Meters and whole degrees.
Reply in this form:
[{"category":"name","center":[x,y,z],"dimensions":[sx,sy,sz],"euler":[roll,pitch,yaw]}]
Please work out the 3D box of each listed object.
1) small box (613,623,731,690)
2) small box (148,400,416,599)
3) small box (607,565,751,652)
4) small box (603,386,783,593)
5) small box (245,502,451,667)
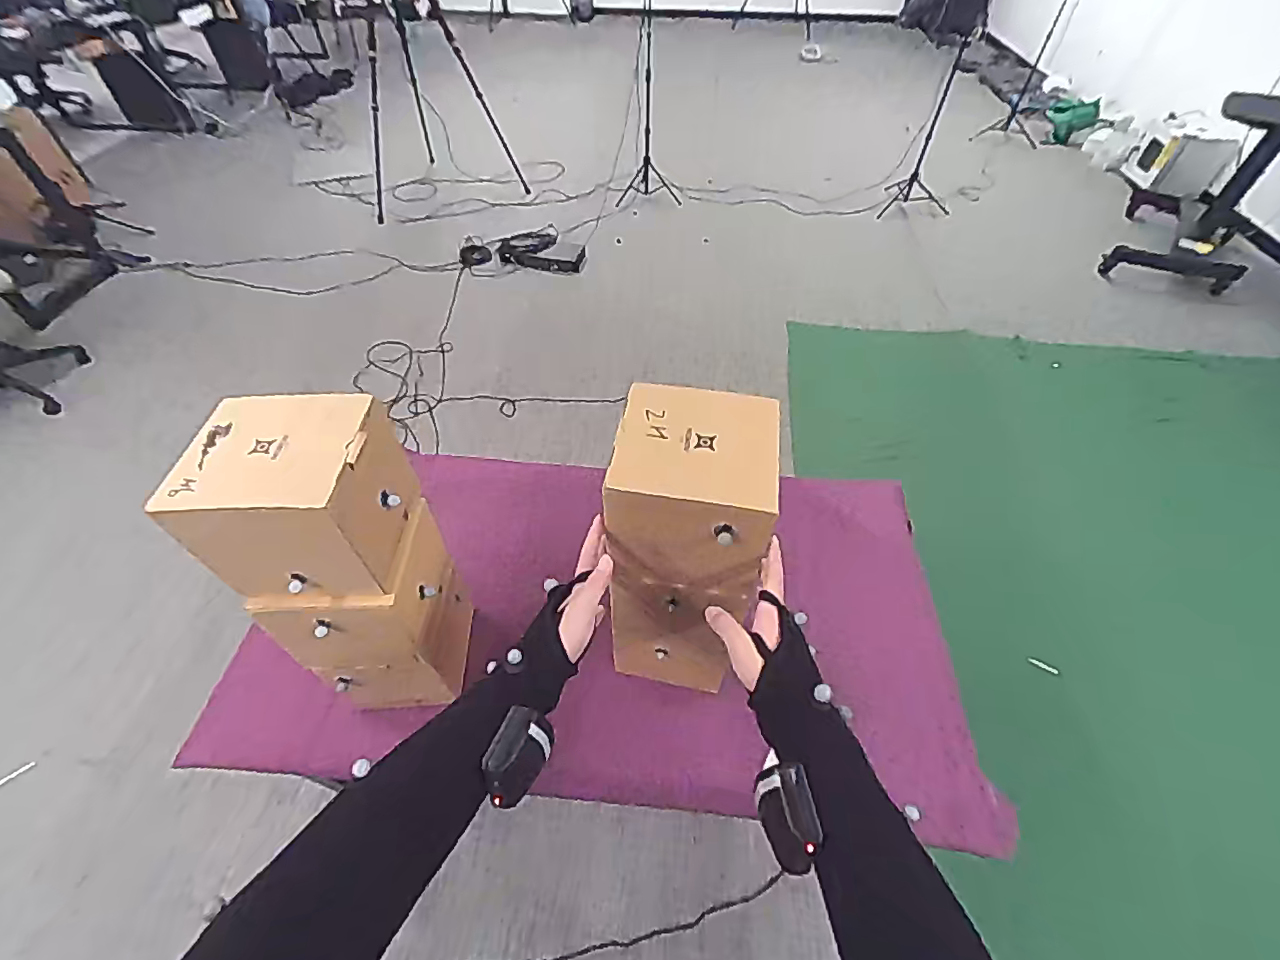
[{"category":"small box","center":[0.060,0.226,0.887],"dimensions":[0.179,0.176,0.168],"euler":[10,51,7]},{"category":"small box","center":[-0.381,0.026,0.623],"dimensions":[0.179,0.176,0.168],"euler":[0,49,-1]},{"category":"small box","center":[0.060,0.124,0.761],"dimensions":[0.179,0.176,0.168],"euler":[9,51,7]},{"category":"small box","center":[0.062,0.016,0.636],"dimensions":[0.179,0.176,0.168],"euler":[8,51,6]},{"category":"small box","center":[-0.373,0.145,0.737],"dimensions":[0.179,0.176,0.168],"euler":[-1,49,-1]}]
